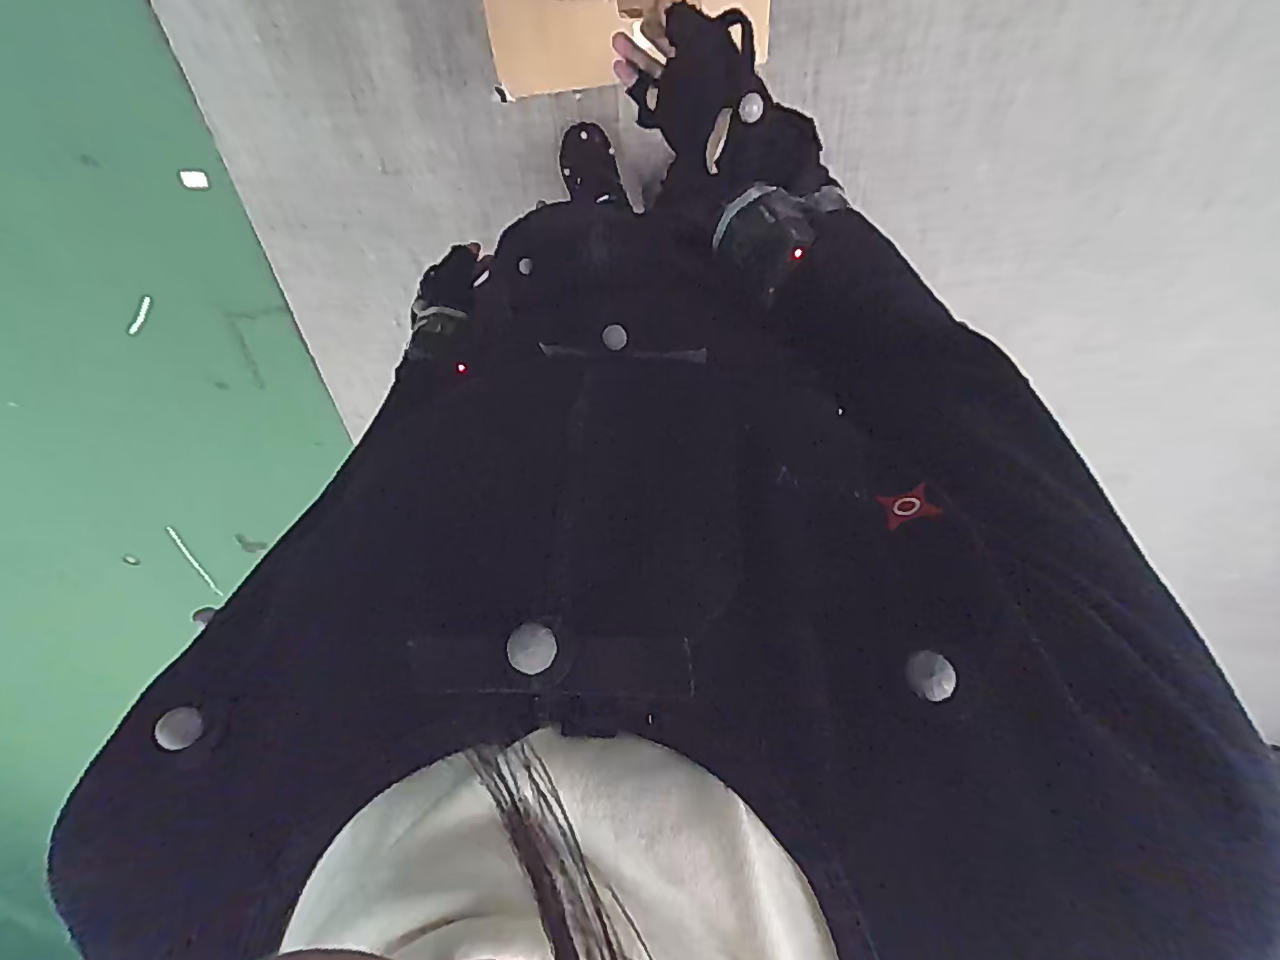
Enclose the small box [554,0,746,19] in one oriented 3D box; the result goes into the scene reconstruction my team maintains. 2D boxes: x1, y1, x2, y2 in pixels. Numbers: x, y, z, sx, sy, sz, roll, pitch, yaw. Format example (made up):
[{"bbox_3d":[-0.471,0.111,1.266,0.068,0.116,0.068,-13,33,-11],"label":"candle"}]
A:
[{"bbox_3d":[0.008,-0.468,0.400,0.168,0.176,0.179,-7,133,0],"label":"small box"}]
